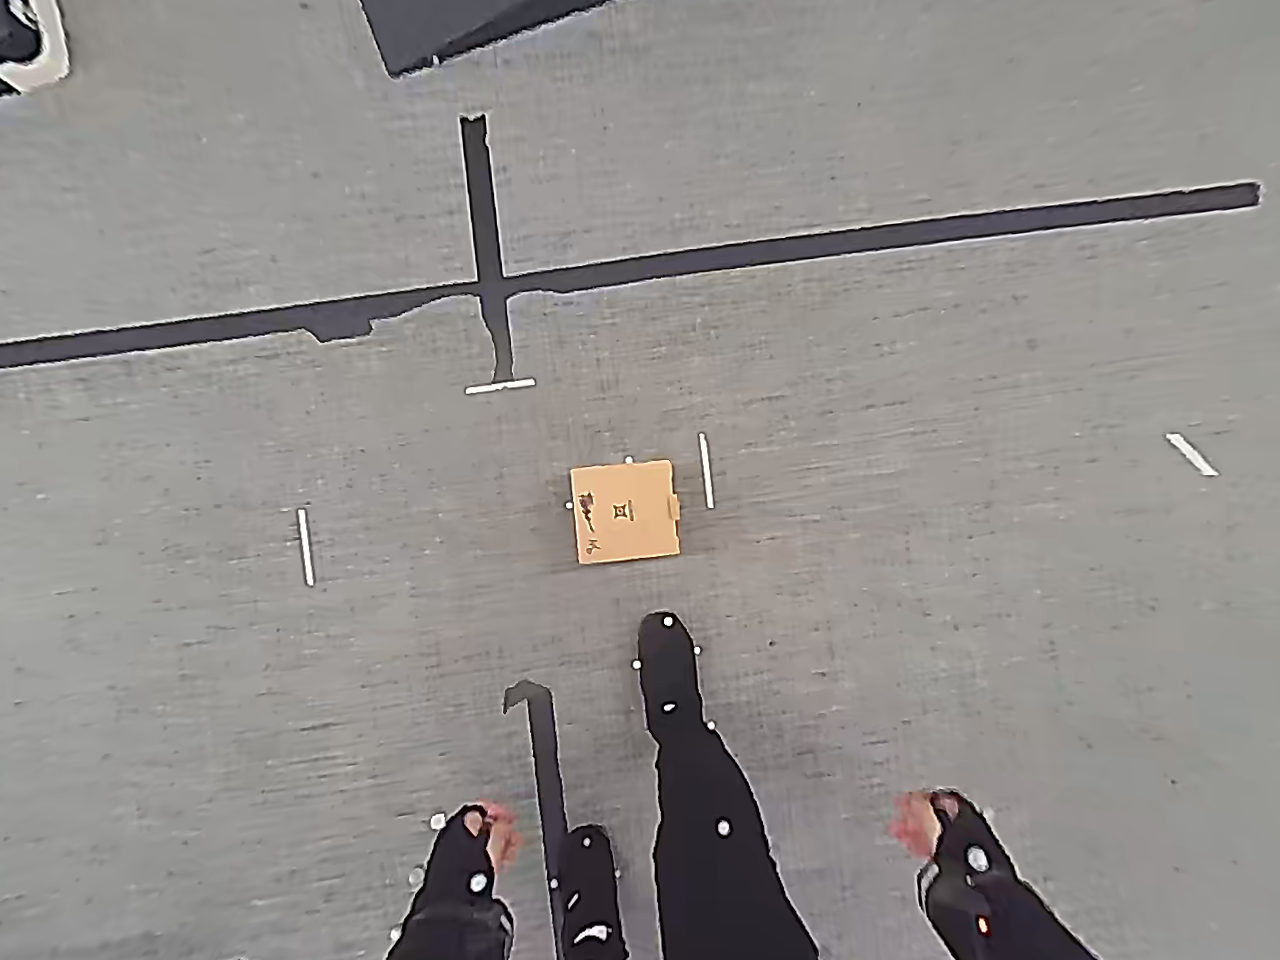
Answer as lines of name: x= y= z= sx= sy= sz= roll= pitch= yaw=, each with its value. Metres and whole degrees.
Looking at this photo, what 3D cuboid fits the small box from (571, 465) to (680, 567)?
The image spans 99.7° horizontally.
small box: x=-0.030 y=0.058 z=0.988 sx=0.179 sy=0.176 sz=0.168 roll=-5 pitch=90 yaw=-3
